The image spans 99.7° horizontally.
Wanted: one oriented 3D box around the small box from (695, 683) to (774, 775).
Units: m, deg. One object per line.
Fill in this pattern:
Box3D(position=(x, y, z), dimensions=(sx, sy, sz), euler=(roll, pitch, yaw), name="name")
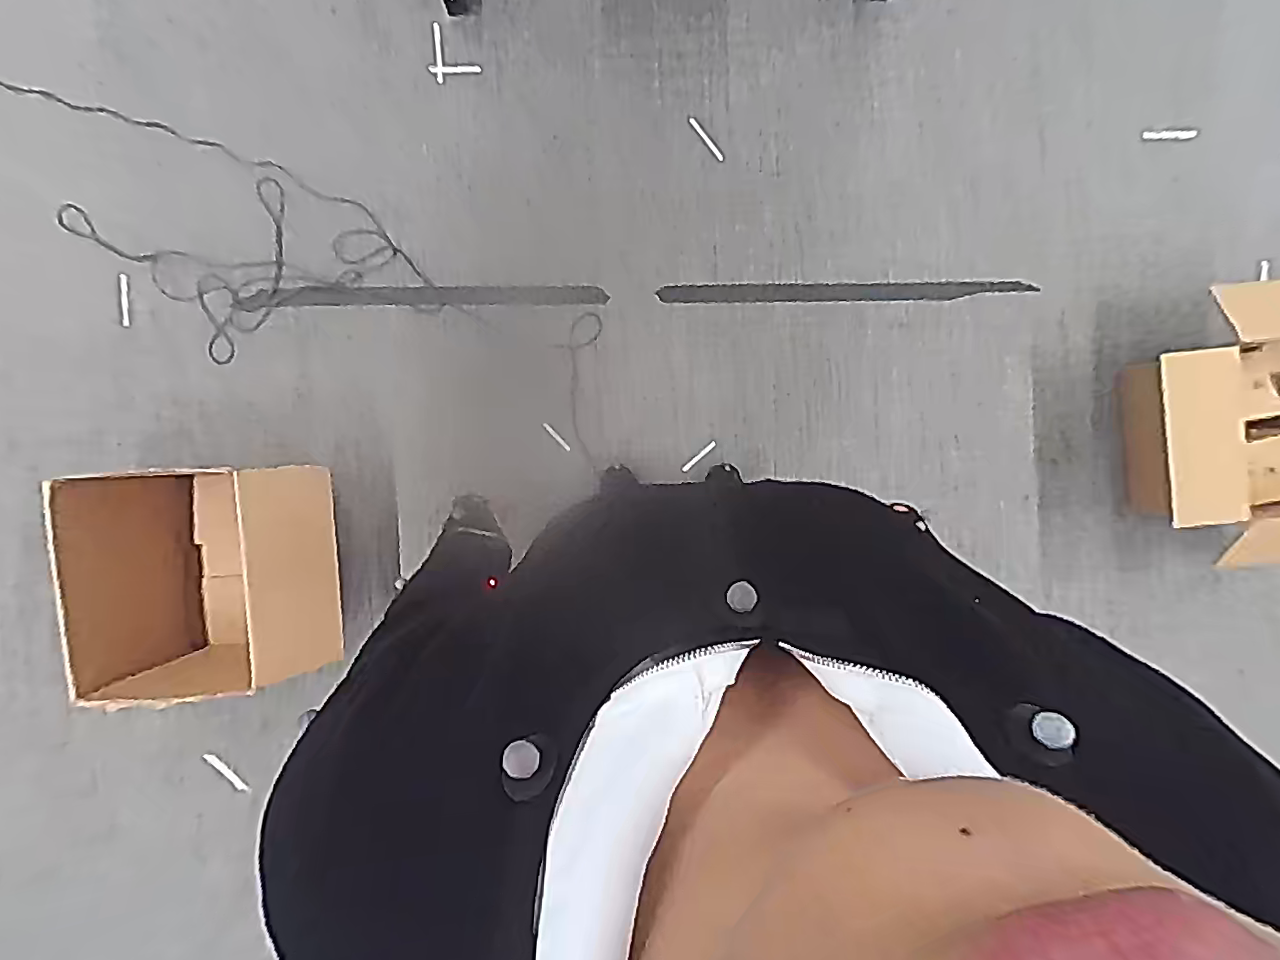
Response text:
Box3D(position=(0.238, 0.635, 1.395), dimensions=(0.179, 0.176, 0.168), euler=(0, 90, 1), name="small box")
